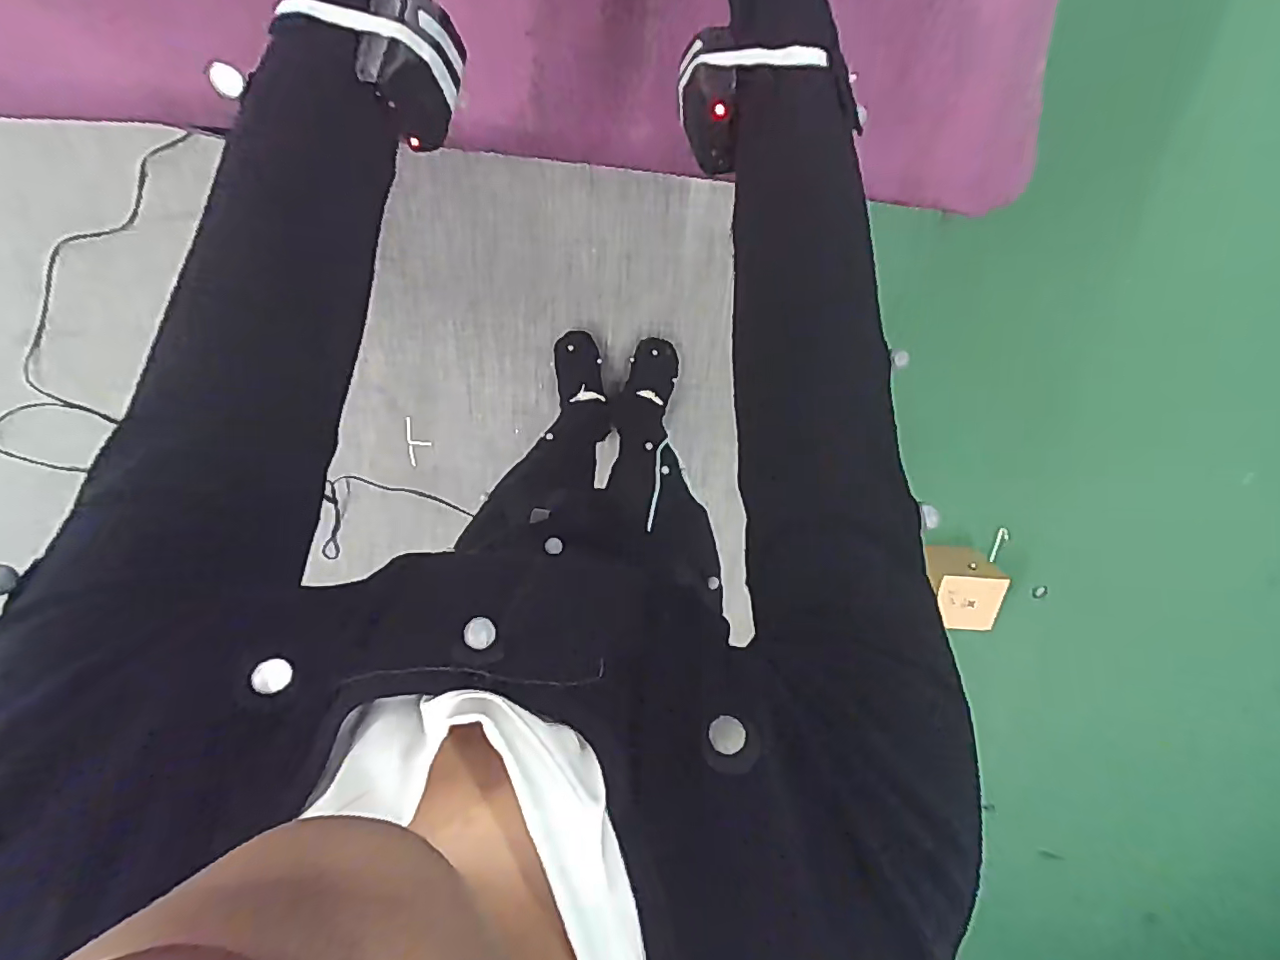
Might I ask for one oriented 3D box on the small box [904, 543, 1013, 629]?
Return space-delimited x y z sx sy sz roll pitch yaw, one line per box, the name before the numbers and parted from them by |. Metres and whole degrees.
small box | 0.865 0.286 1.485 0.179 0.176 0.168 4 114 0
